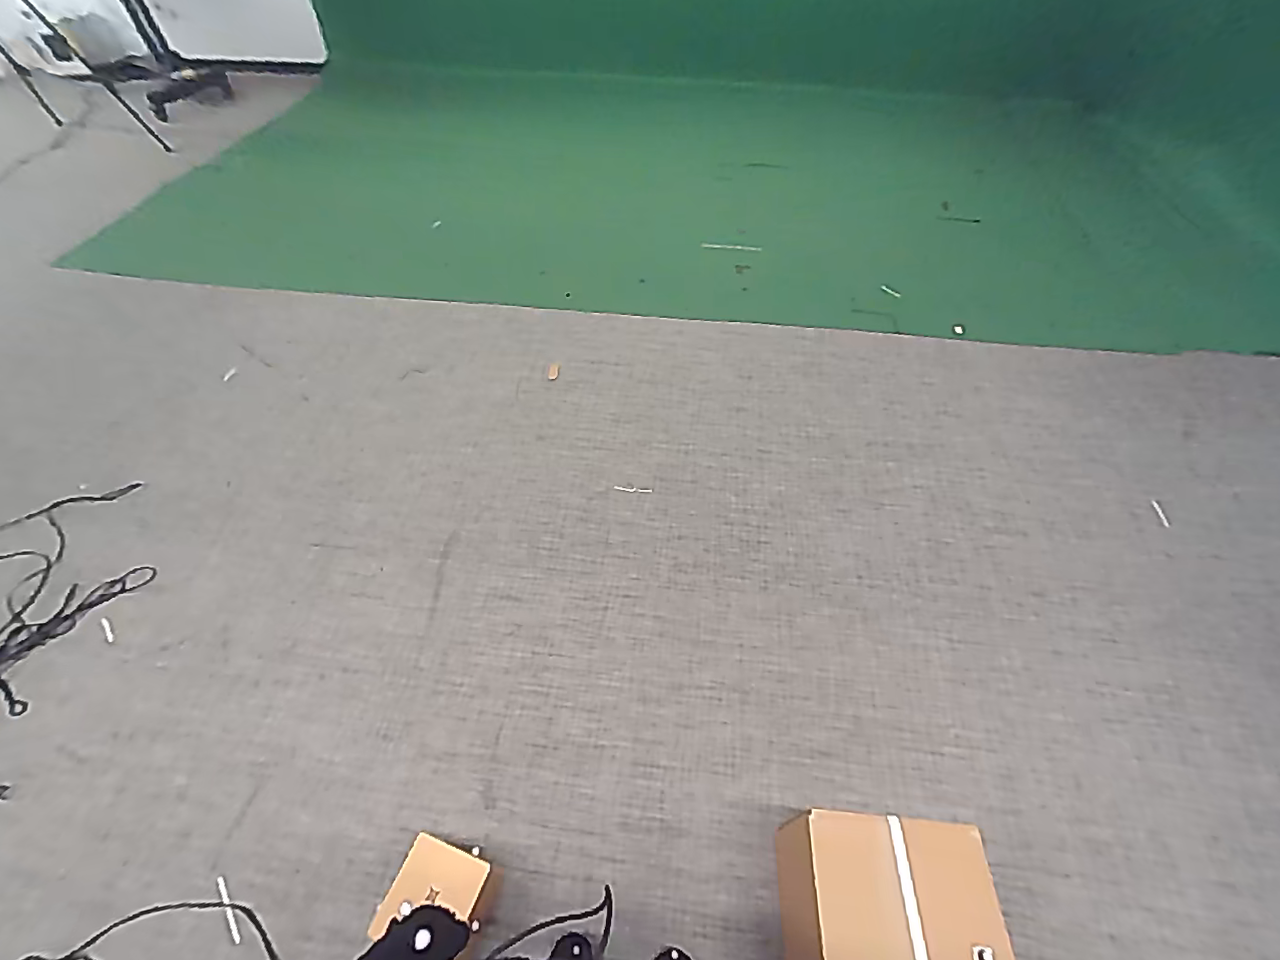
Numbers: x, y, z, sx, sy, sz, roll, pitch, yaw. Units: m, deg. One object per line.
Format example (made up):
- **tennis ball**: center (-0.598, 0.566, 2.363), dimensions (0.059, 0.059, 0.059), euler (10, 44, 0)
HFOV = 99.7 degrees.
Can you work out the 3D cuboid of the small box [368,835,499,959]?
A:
- **small box**: center (-0.402, 0.854, 1.093), dimensions (0.168, 0.176, 0.179), euler (16, 53, 12)
